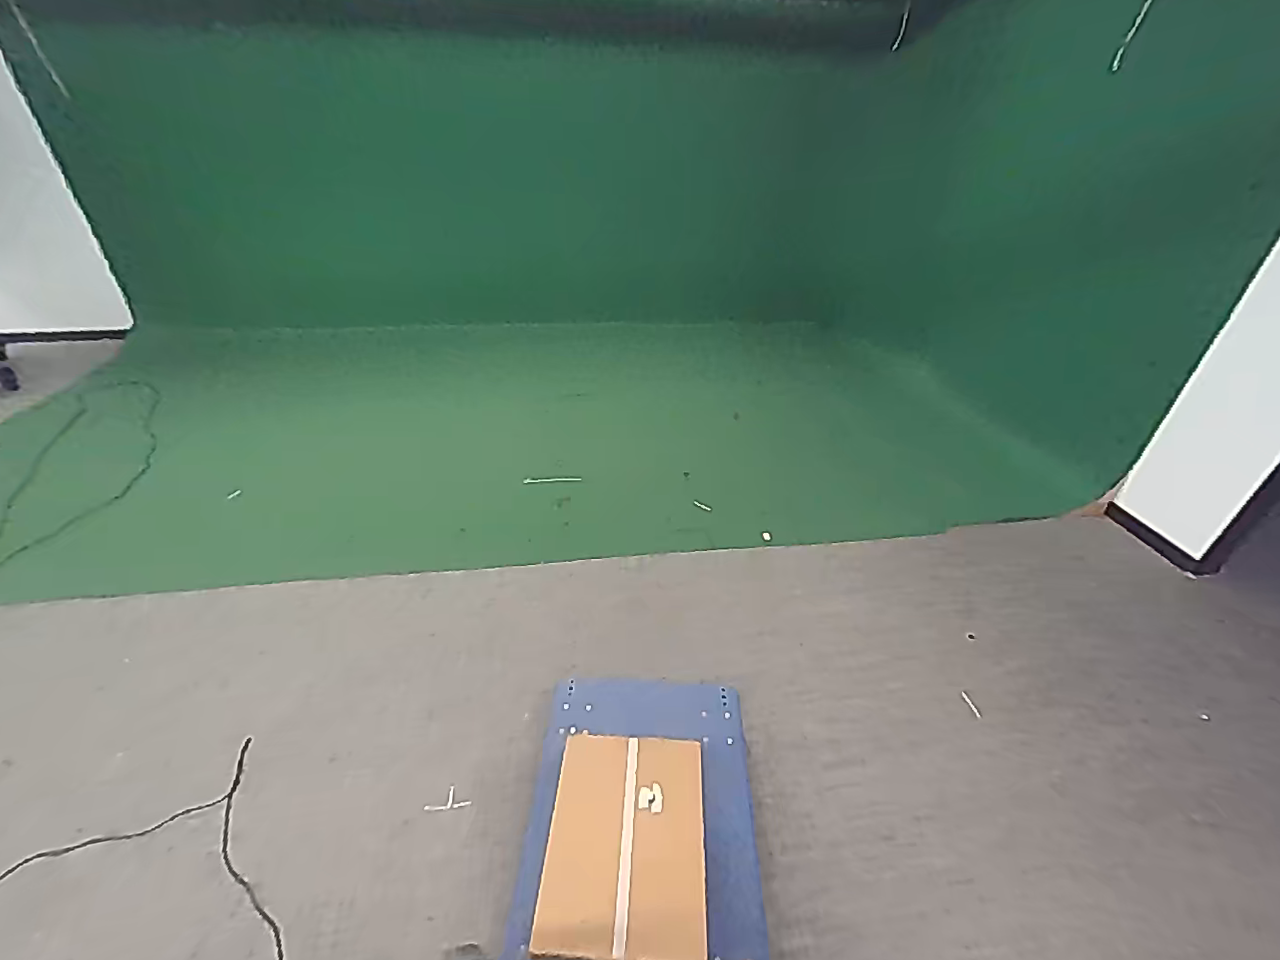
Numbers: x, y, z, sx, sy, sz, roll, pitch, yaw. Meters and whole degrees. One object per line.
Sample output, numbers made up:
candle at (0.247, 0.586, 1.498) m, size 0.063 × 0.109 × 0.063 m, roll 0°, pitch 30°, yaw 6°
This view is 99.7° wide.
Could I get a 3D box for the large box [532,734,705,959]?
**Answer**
large box at (-0.033, 0.839, 1.186) m, size 0.320 × 0.320 × 0.408 m, roll 3°, pitch 33°, yaw 2°
